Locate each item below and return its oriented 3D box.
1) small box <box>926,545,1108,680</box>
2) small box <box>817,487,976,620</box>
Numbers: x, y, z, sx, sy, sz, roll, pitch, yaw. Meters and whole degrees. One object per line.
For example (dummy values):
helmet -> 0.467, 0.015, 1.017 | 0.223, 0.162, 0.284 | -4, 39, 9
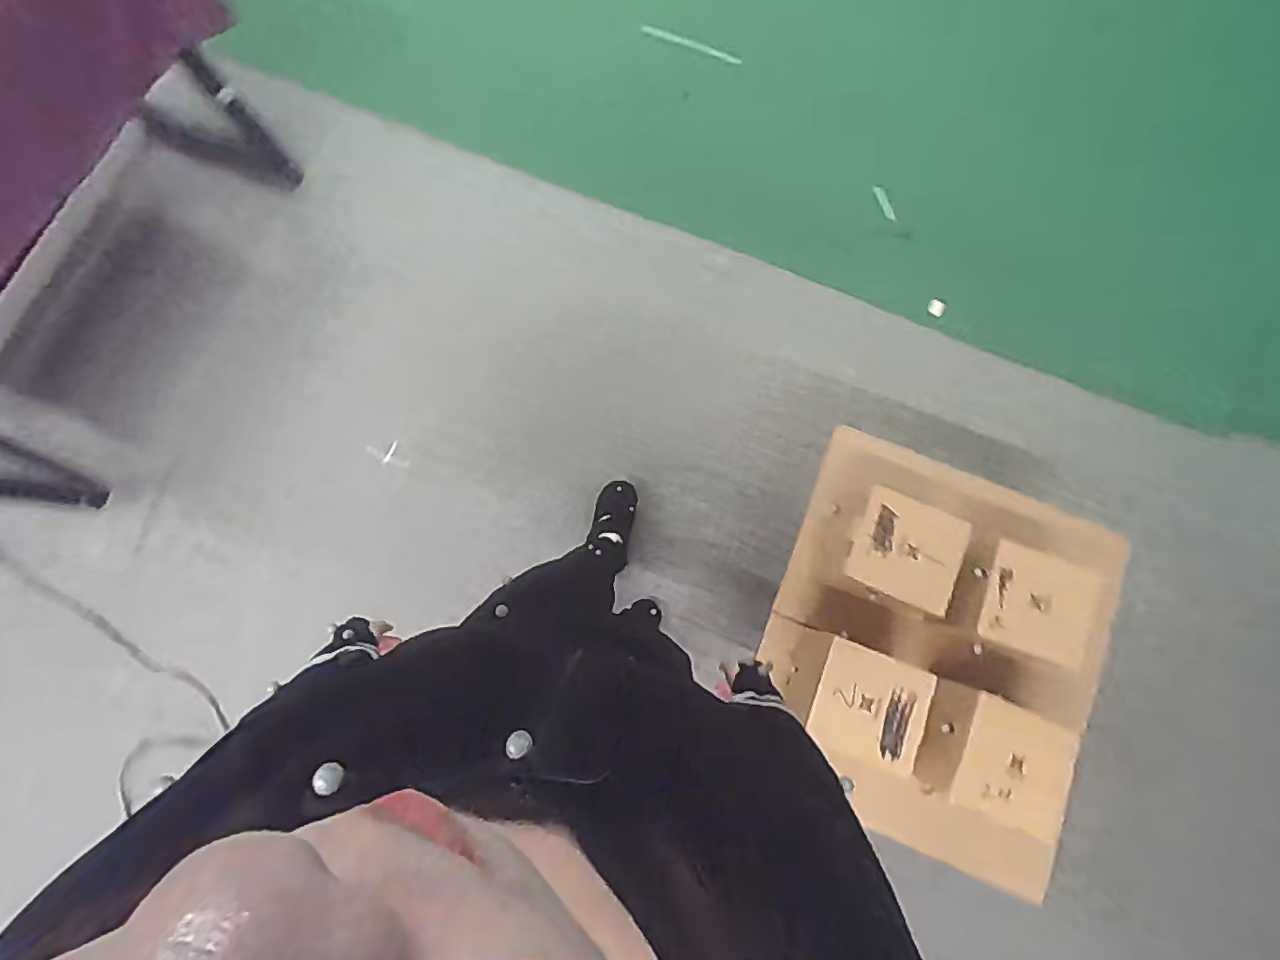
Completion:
small box -> 0.644, 0.223, 0.941 | 0.179, 0.176, 0.168 | 22, 79, 2
small box -> 0.441, 0.133, 0.958 | 0.179, 0.176, 0.168 | 24, 81, 4
